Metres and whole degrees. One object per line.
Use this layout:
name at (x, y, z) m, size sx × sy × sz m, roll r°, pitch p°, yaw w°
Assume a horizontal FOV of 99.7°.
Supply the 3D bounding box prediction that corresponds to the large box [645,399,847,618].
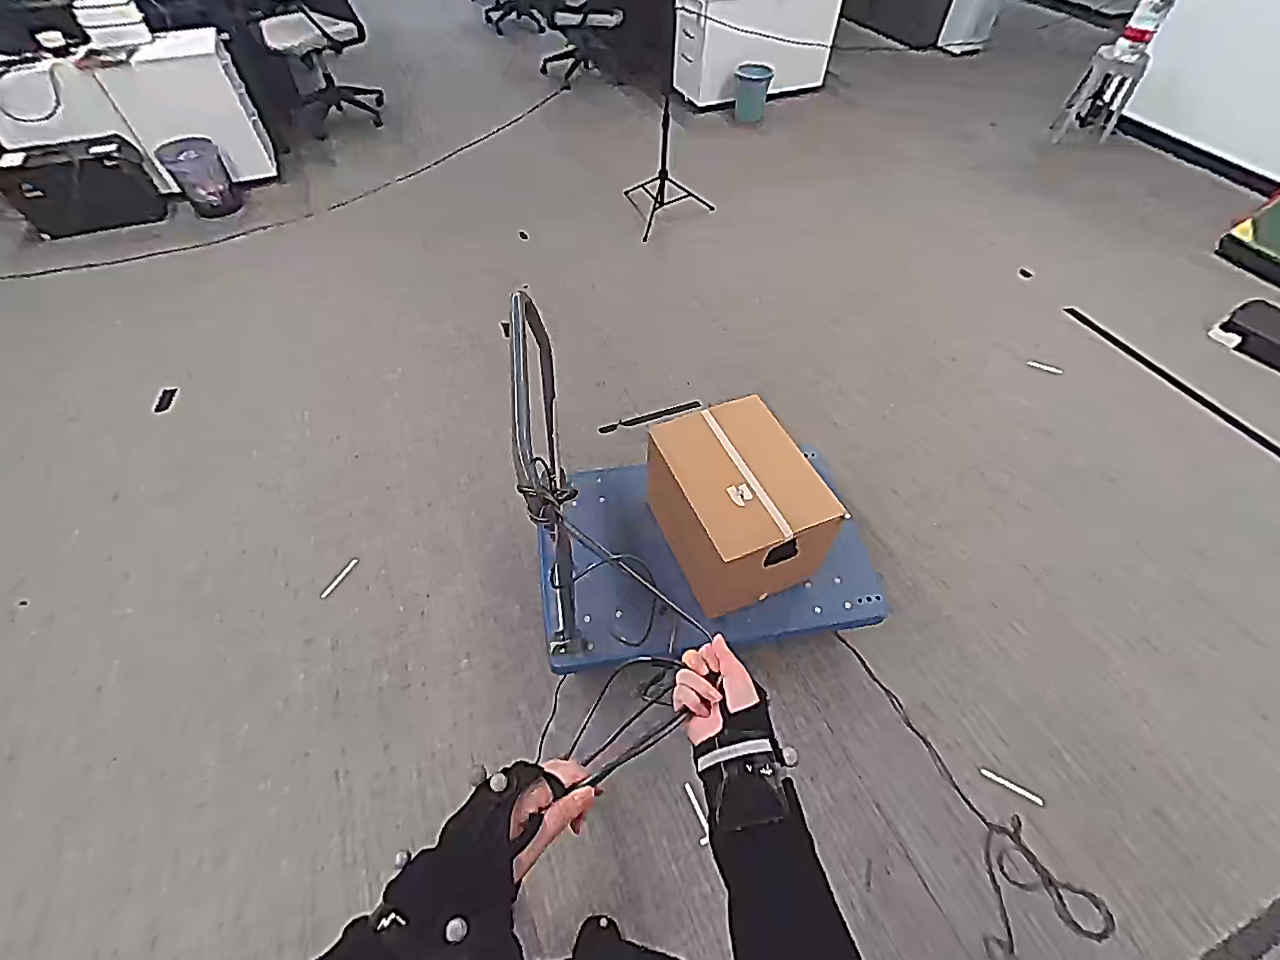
large box at (0.234, 0.068, 1.372) m, size 0.320 × 0.320 × 0.408 m, roll -19°, pitch 57°, yaw -14°
